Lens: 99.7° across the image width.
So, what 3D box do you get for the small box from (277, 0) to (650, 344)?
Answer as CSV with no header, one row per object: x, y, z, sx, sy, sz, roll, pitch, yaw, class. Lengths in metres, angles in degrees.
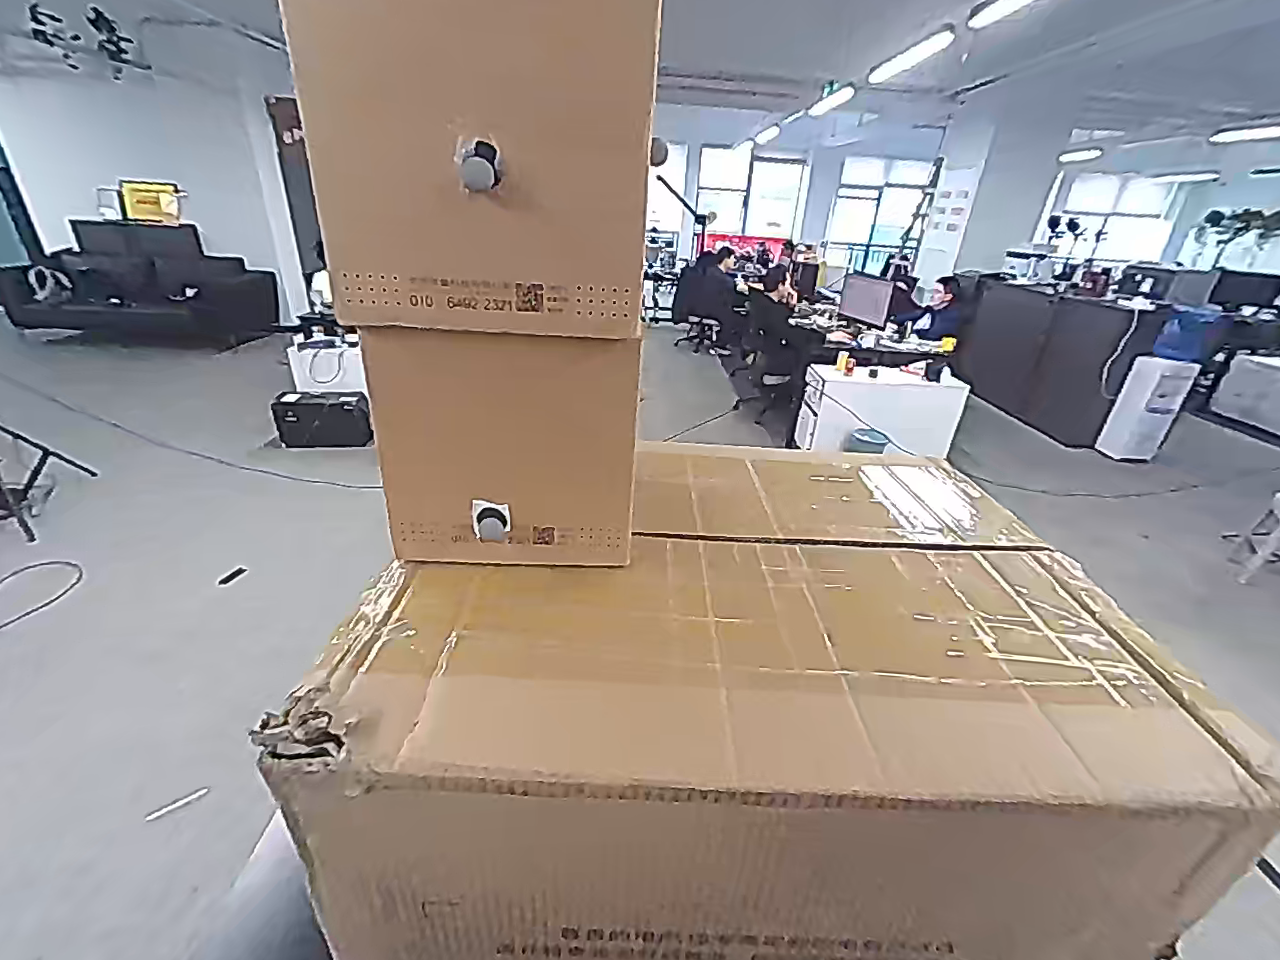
-0.081,-0.187,0.340,0.168,0.176,0.179,1,26,-4,small box

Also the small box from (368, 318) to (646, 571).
-0.087,-0.047,0.426,0.168,0.176,0.179,0,27,-5,small box
